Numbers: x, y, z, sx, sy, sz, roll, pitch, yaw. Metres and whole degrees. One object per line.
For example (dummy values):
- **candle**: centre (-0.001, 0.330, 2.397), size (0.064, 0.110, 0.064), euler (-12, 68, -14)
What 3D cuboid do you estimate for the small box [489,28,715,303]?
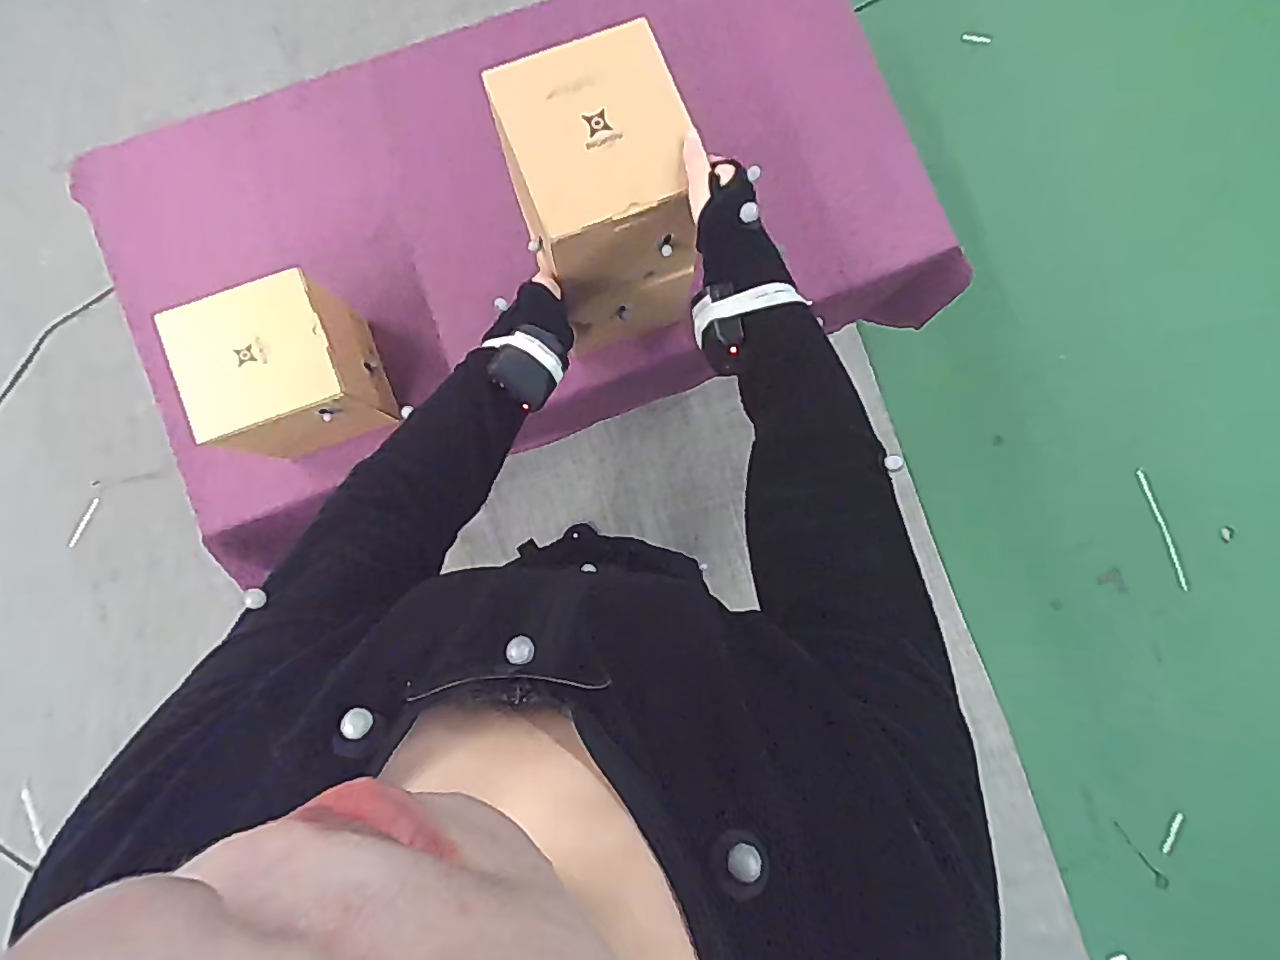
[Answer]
- **small box**: centre (-0.038, -0.312, 0.578), size (0.168, 0.176, 0.179), euler (-22, 86, -5)

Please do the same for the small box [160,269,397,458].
- **small box**: centre (-0.456, -0.139, 0.711), size (0.179, 0.176, 0.168), euler (-21, 86, -5)

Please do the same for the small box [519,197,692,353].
- **small box**: centre (-0.044, -0.292, 0.740), size (0.179, 0.176, 0.168), euler (-19, 87, -4)
